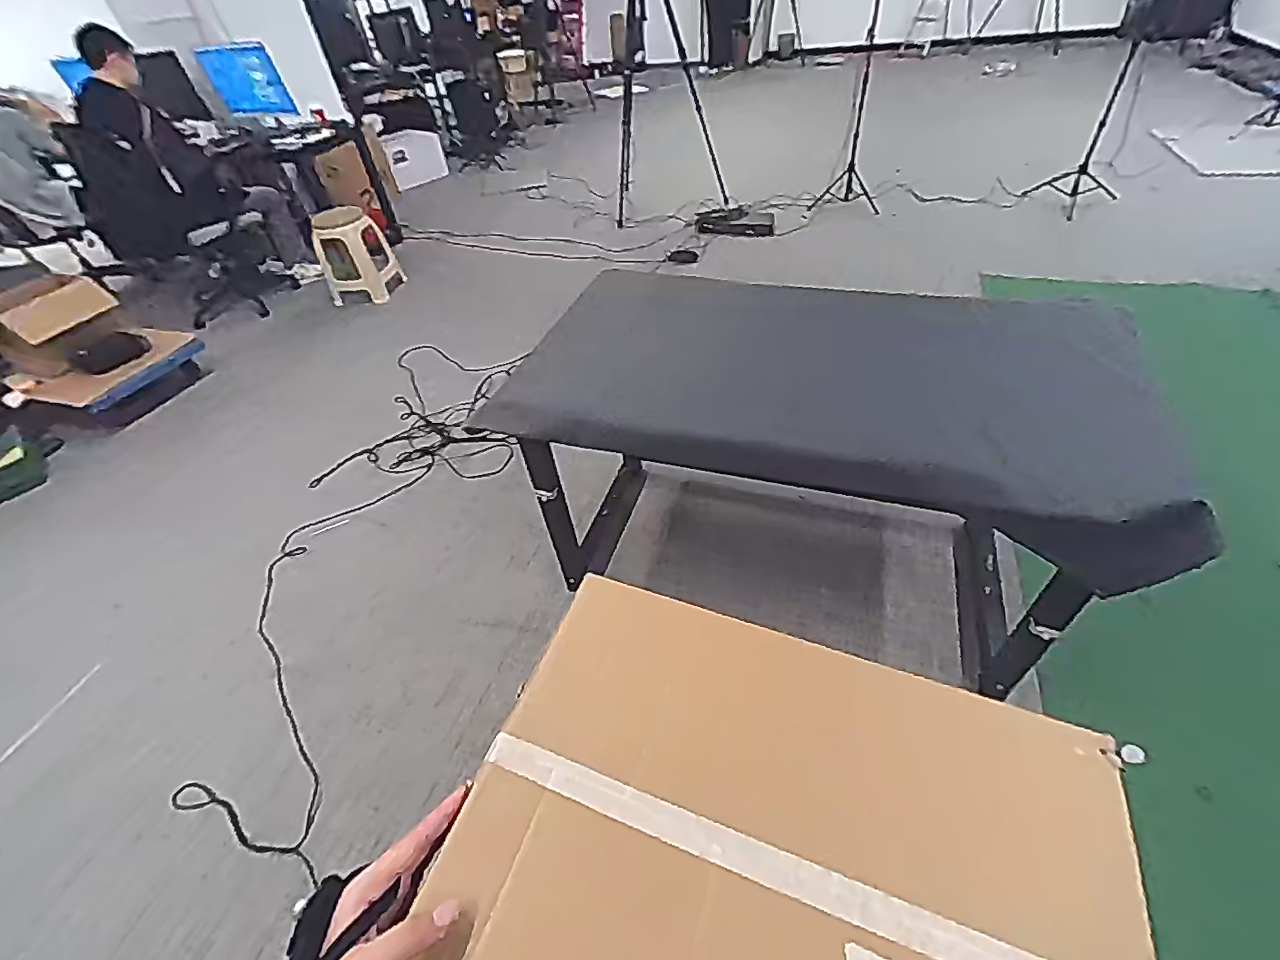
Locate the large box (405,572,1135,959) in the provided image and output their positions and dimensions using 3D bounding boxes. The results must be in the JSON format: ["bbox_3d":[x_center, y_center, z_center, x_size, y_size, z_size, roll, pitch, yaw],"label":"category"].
[{"bbox_3d":[0.096,0.334,0.463,0.408,0.320,0.320,15,51,15],"label":"large box"}]
